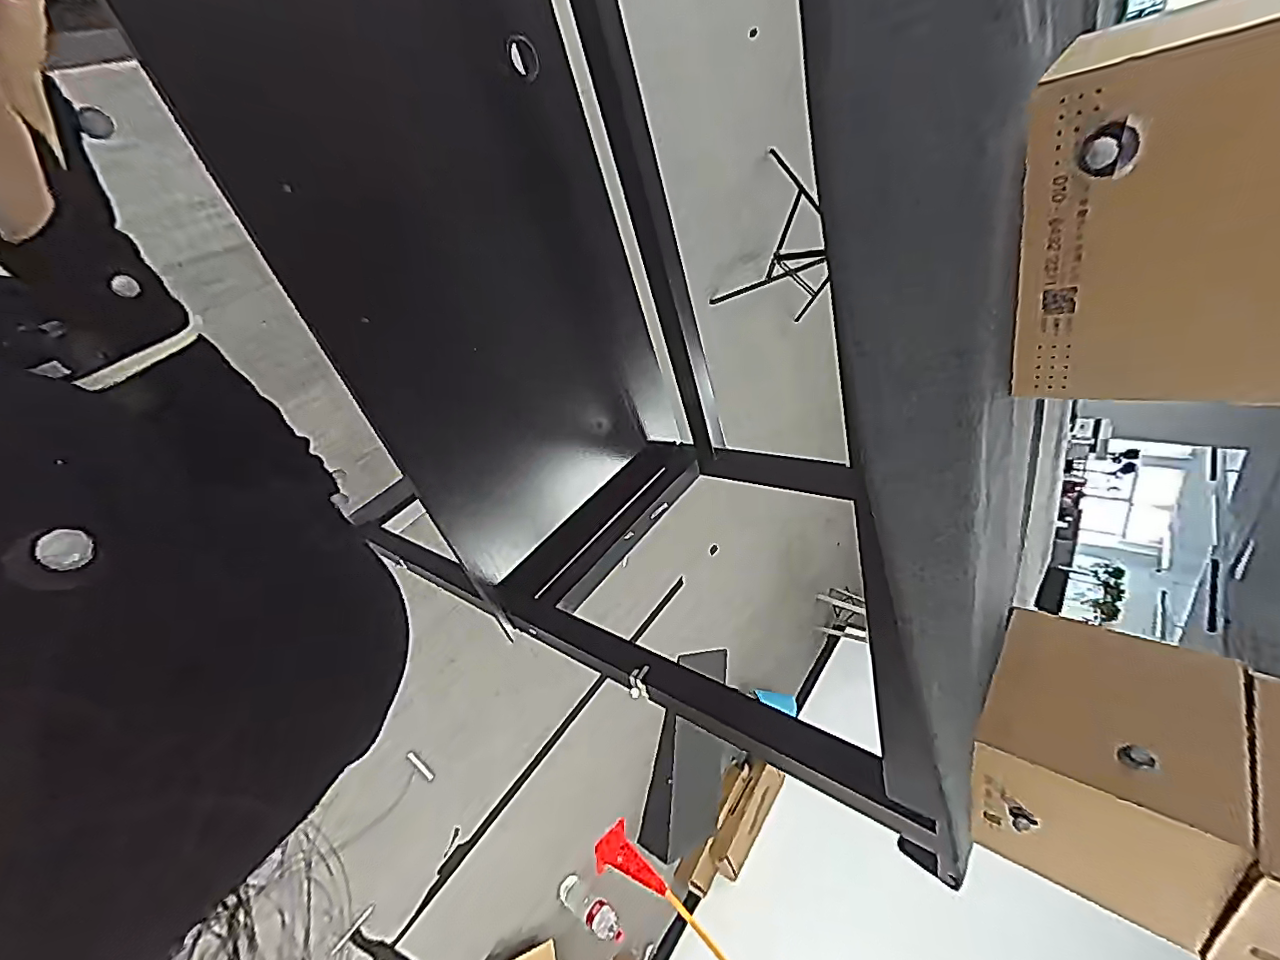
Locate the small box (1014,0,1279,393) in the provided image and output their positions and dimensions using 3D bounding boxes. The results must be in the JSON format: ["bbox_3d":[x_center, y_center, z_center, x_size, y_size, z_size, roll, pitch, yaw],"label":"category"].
[{"bbox_3d":[0.318,-0.154,0.292,0.179,0.176,0.168,-46,131,-35],"label":"small box"}]

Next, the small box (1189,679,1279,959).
[{"bbox_3d":[0.536,0.281,0.392,0.179,0.176,0.168,-43,128,-34],"label":"small box"}]
